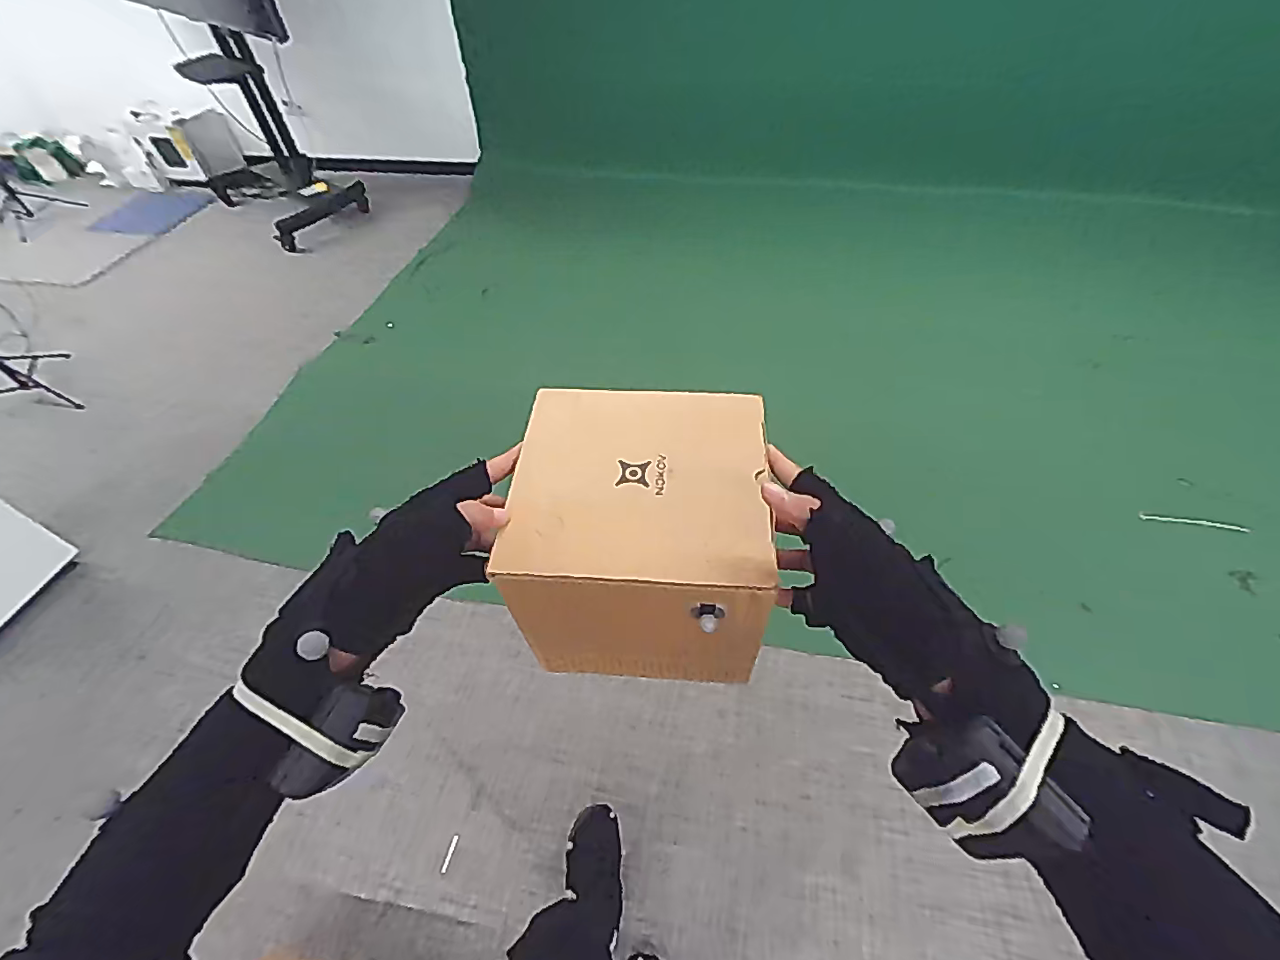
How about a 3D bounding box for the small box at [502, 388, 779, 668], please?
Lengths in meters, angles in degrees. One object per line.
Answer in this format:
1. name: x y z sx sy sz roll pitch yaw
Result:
1. small box: 0.008 0.043 0.443 0.179 0.176 0.168 2 52 4
